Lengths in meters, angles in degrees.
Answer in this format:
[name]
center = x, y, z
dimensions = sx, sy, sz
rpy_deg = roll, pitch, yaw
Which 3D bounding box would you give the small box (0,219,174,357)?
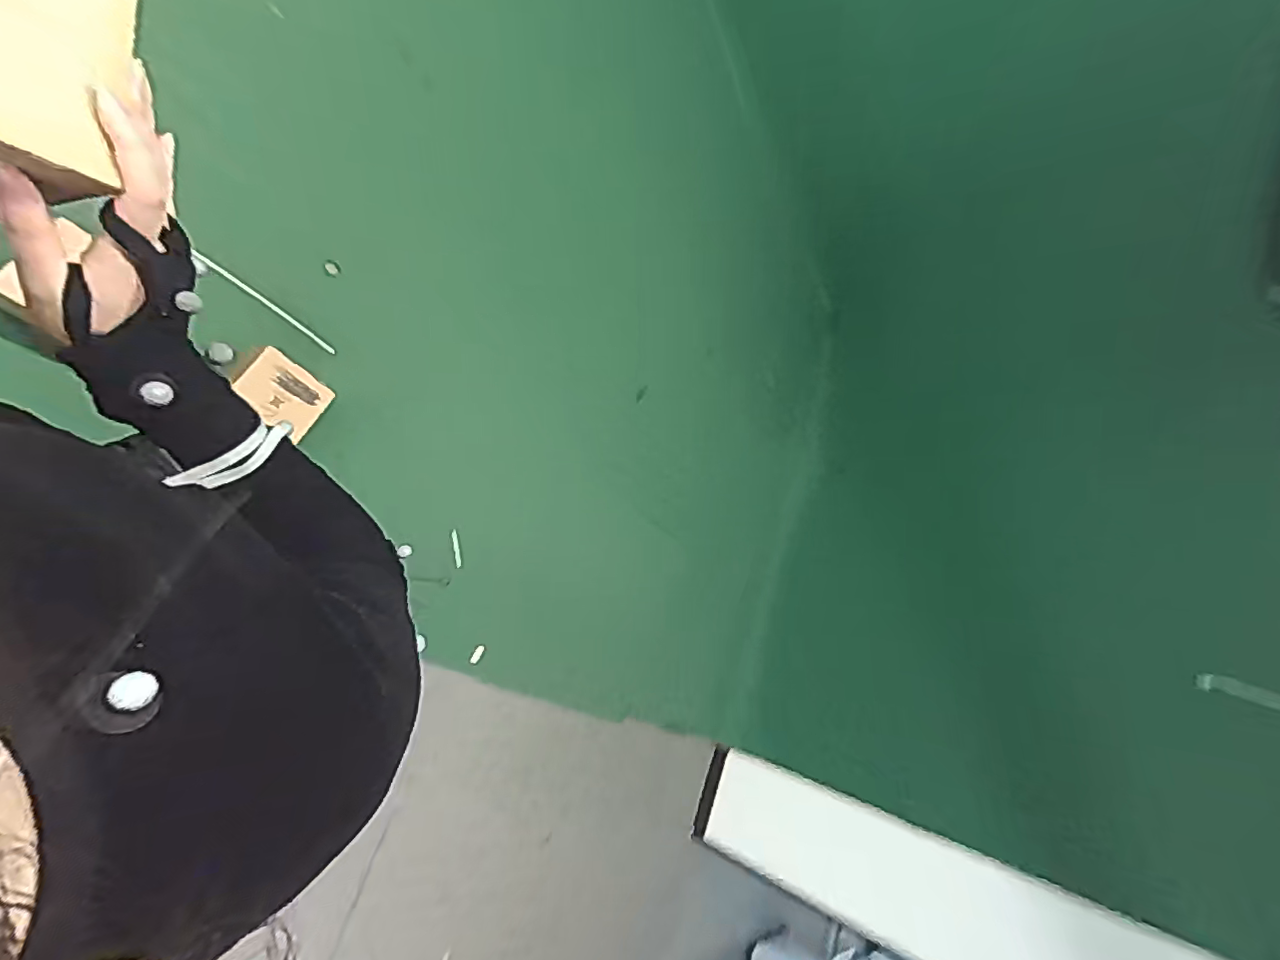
[small box]
center = -1.035, -0.345, 1.012
dimensions = 0.179, 0.176, 0.168
rpy_deg = 43, 62, -41
